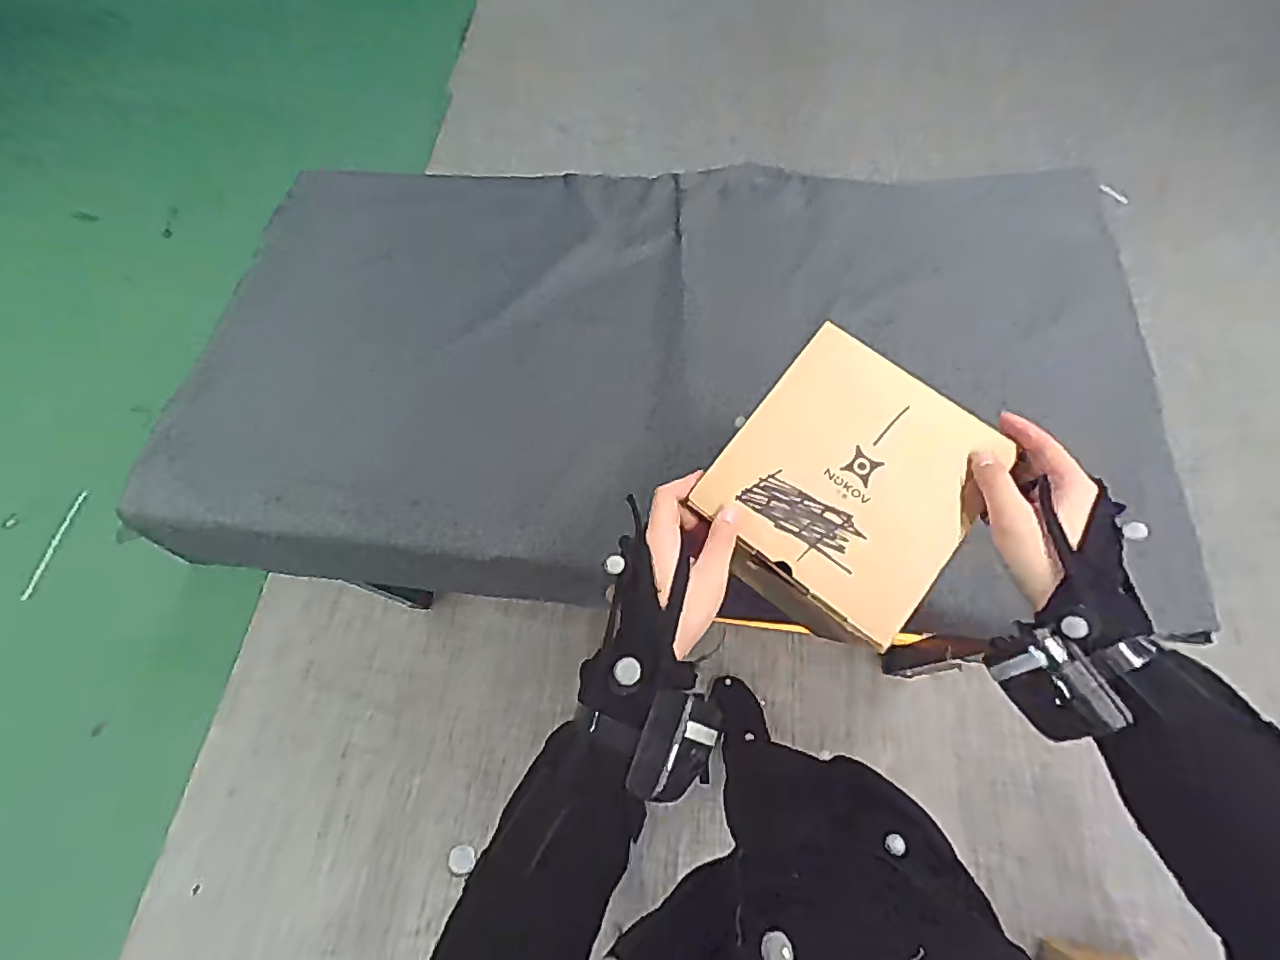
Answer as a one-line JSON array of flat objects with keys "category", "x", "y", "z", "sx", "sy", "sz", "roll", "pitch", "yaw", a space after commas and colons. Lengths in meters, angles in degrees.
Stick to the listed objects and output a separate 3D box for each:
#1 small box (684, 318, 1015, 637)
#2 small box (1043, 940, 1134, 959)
[{"category": "small box", "x": 0.153, "y": 0.009, "z": 0.458, "sx": 0.168, "sy": 0.176, "sz": 0.179, "roll": 37, "pitch": 81, "yaw": 10}, {"category": "small box", "x": 0.788, "y": 0.893, "z": 0.867, "sx": 0.168, "sy": 0.176, "sz": 0.179, "roll": 7, "pitch": 69, "yaw": 8}]
